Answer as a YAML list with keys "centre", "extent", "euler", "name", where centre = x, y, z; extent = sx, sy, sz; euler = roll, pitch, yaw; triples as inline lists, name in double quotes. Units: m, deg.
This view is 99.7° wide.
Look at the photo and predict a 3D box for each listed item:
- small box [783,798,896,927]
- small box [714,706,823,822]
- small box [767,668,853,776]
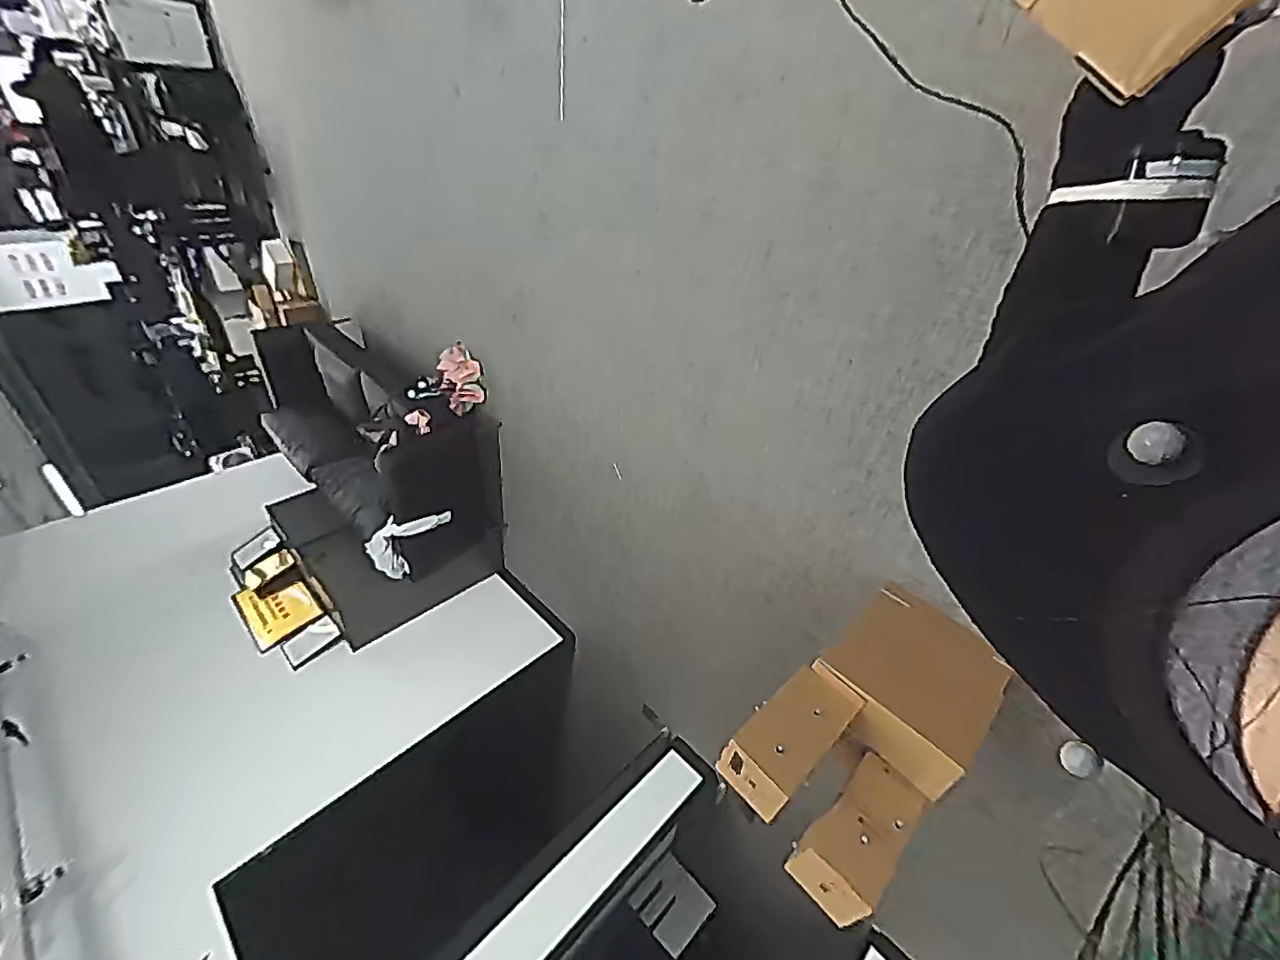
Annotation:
- centre: [0.482, 0.918, 1.305]
  extent: [0.168, 0.176, 0.179]
  euler: [39, 136, 26]
  name: "small box"
- centre: [0.322, 0.702, 1.361]
  extent: [0.179, 0.176, 0.168]
  euler: [39, 135, 28]
  name: "small box"
- centre: [0.441, 0.647, 1.459]
  extent: [0.179, 0.176, 0.168]
  euler: [38, 133, 28]
  name: "small box"
